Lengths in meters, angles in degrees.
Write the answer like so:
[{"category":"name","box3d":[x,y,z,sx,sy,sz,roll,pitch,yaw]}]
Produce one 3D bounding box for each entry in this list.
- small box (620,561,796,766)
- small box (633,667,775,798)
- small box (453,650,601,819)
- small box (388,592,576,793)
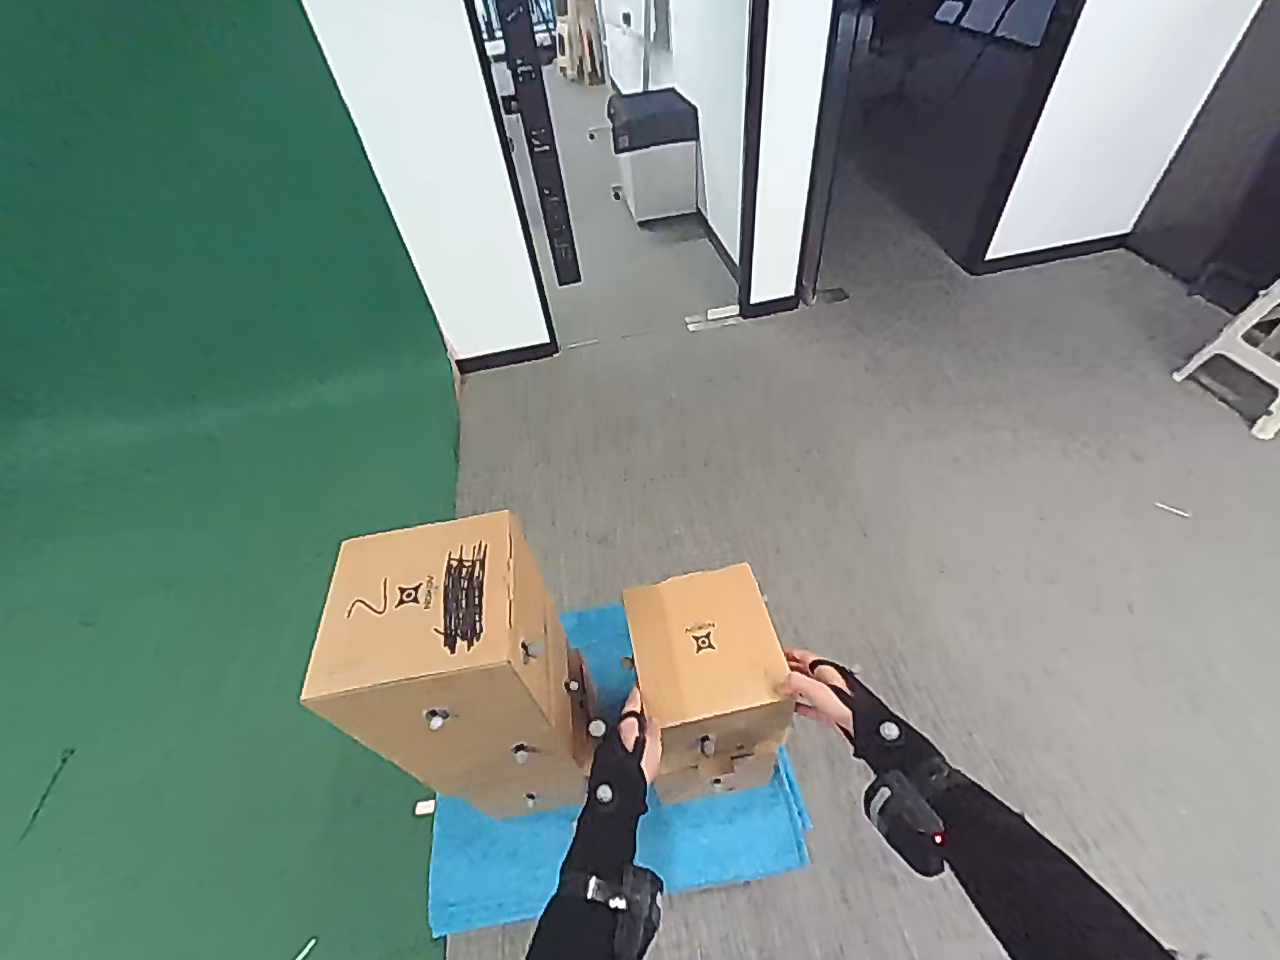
[{"category":"small box","box3d":[0.079,0.232,0.669,0.168,0.176,0.179,-12,46,-3]},{"category":"small box","box3d":[0.087,0.344,0.787,0.168,0.176,0.179,-10,47,-2]},{"category":"small box","box3d":[-0.154,0.373,0.789,0.179,0.176,0.168,-11,47,-2]},{"category":"small box","box3d":[-0.178,0.264,0.668,0.179,0.176,0.168,-10,47,-2]}]
